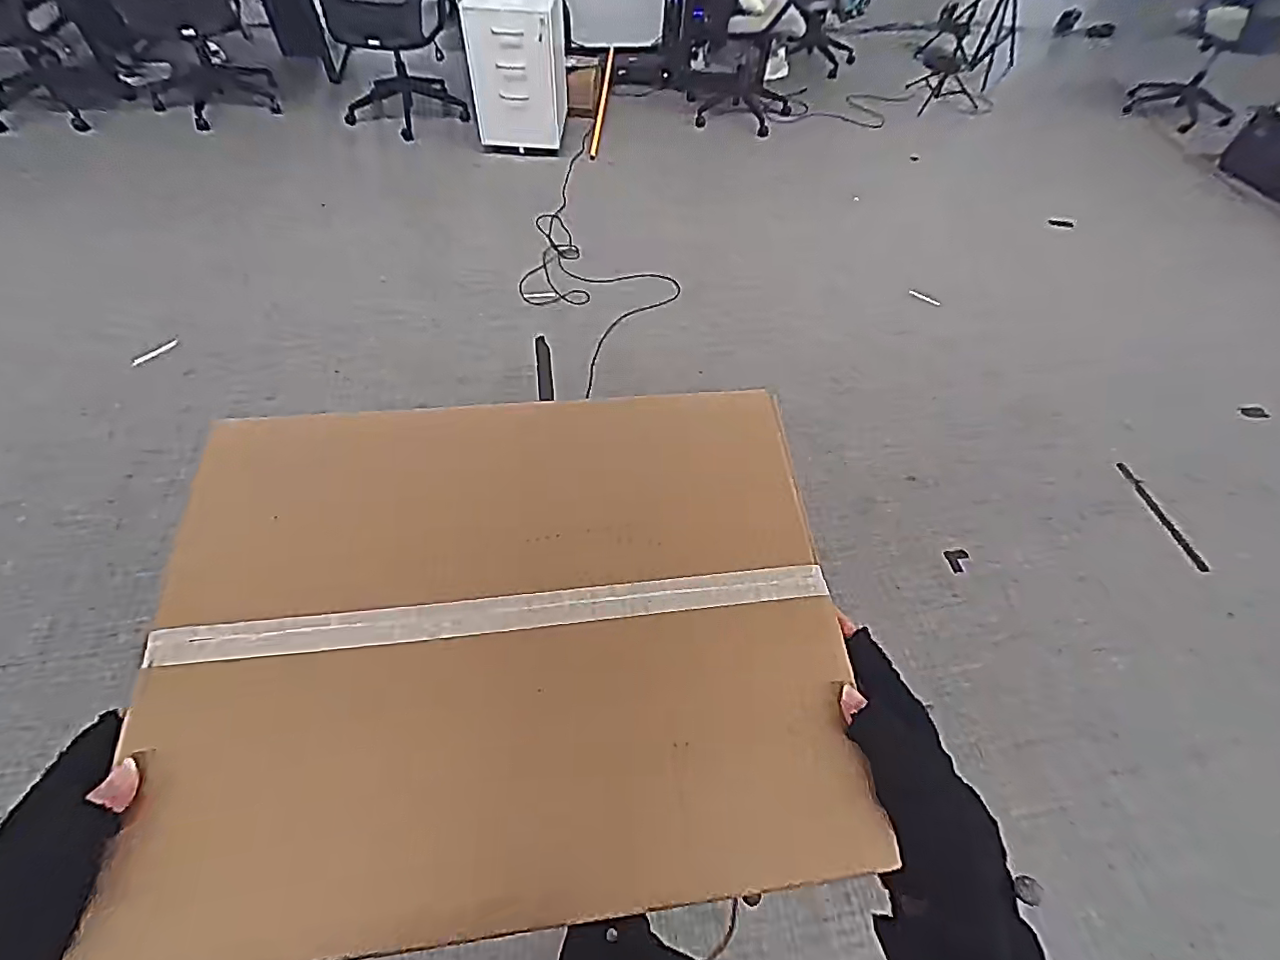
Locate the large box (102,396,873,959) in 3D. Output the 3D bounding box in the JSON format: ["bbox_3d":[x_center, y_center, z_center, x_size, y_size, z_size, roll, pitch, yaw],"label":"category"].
[{"bbox_3d":[-0.090,0.152,0.477,0.408,0.320,0.320,-5,63,-6],"label":"large box"}]
